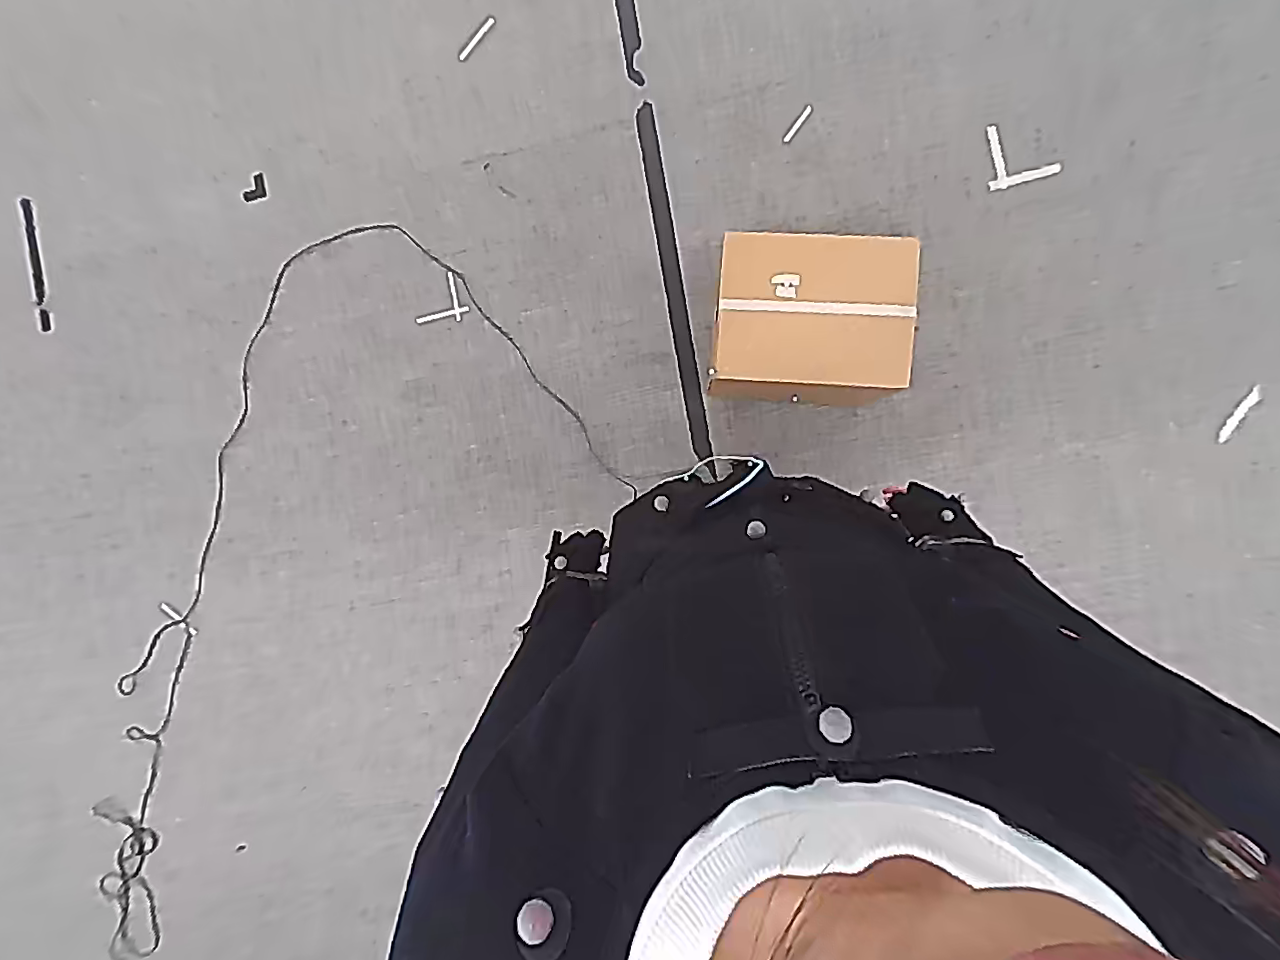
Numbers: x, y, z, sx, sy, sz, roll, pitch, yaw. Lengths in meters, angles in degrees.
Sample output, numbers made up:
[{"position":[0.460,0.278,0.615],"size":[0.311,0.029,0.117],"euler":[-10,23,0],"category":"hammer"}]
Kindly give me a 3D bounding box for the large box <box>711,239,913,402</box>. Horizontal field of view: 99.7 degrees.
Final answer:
[{"position":[0.385,-0.362,1.298],"size":[0.408,0.320,0.320],"euler":[4,91,6],"category":"large box"}]
